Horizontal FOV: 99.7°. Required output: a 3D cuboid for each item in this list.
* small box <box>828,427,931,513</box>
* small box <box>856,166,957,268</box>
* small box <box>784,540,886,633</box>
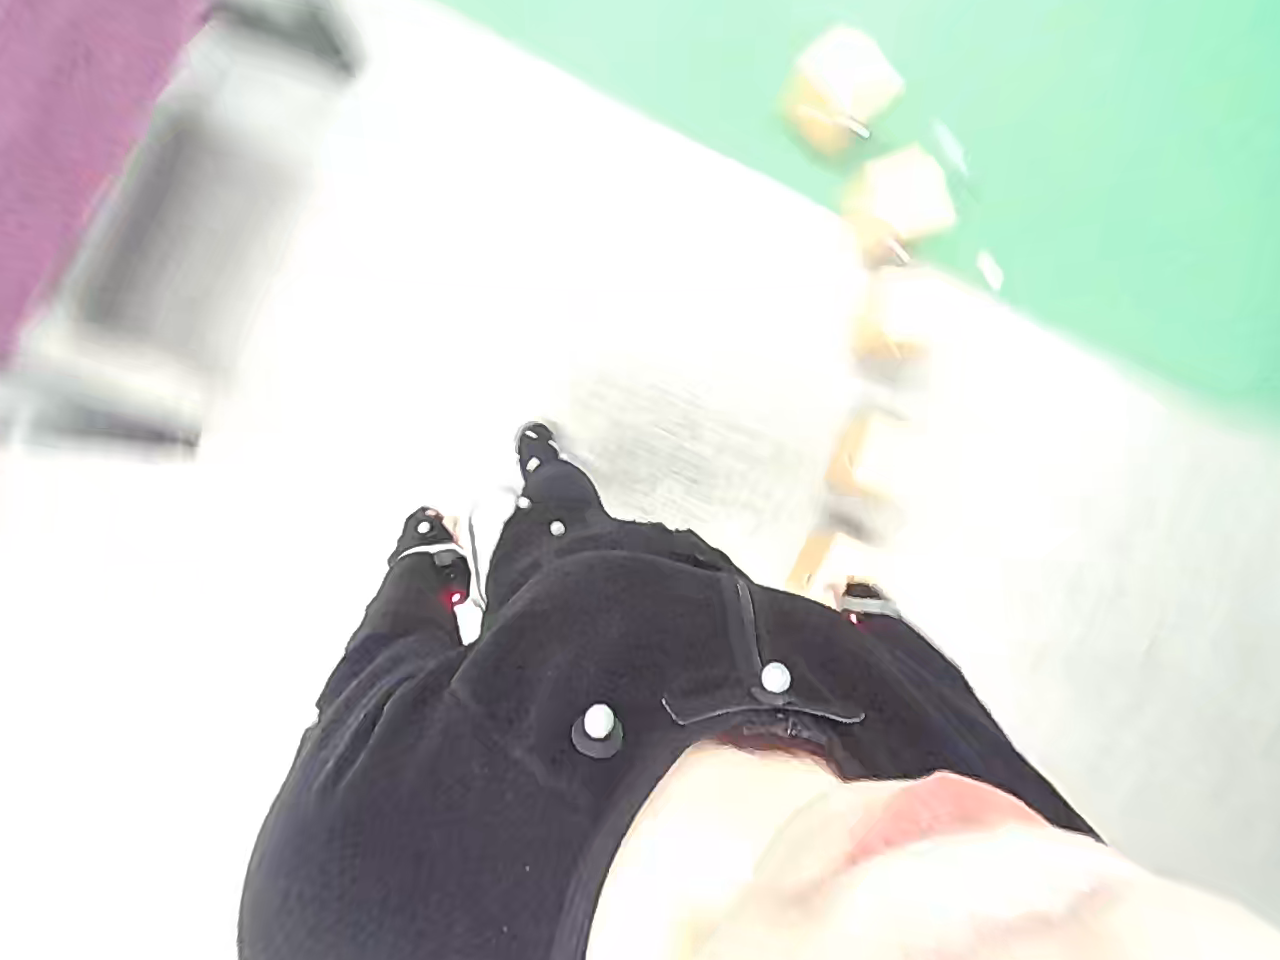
[{"bbox_3d":[0.638,-0.026,1.465,0.168,0.176,0.179,25,88,-4],"label":"small box"},{"bbox_3d":[0.721,-0.714,1.484,0.168,0.176,0.179,-17,91,-5],"label":"small box"},{"bbox_3d":[0.514,0.276,1.454,0.168,0.176,0.179,31,88,-3],"label":"small box"}]
